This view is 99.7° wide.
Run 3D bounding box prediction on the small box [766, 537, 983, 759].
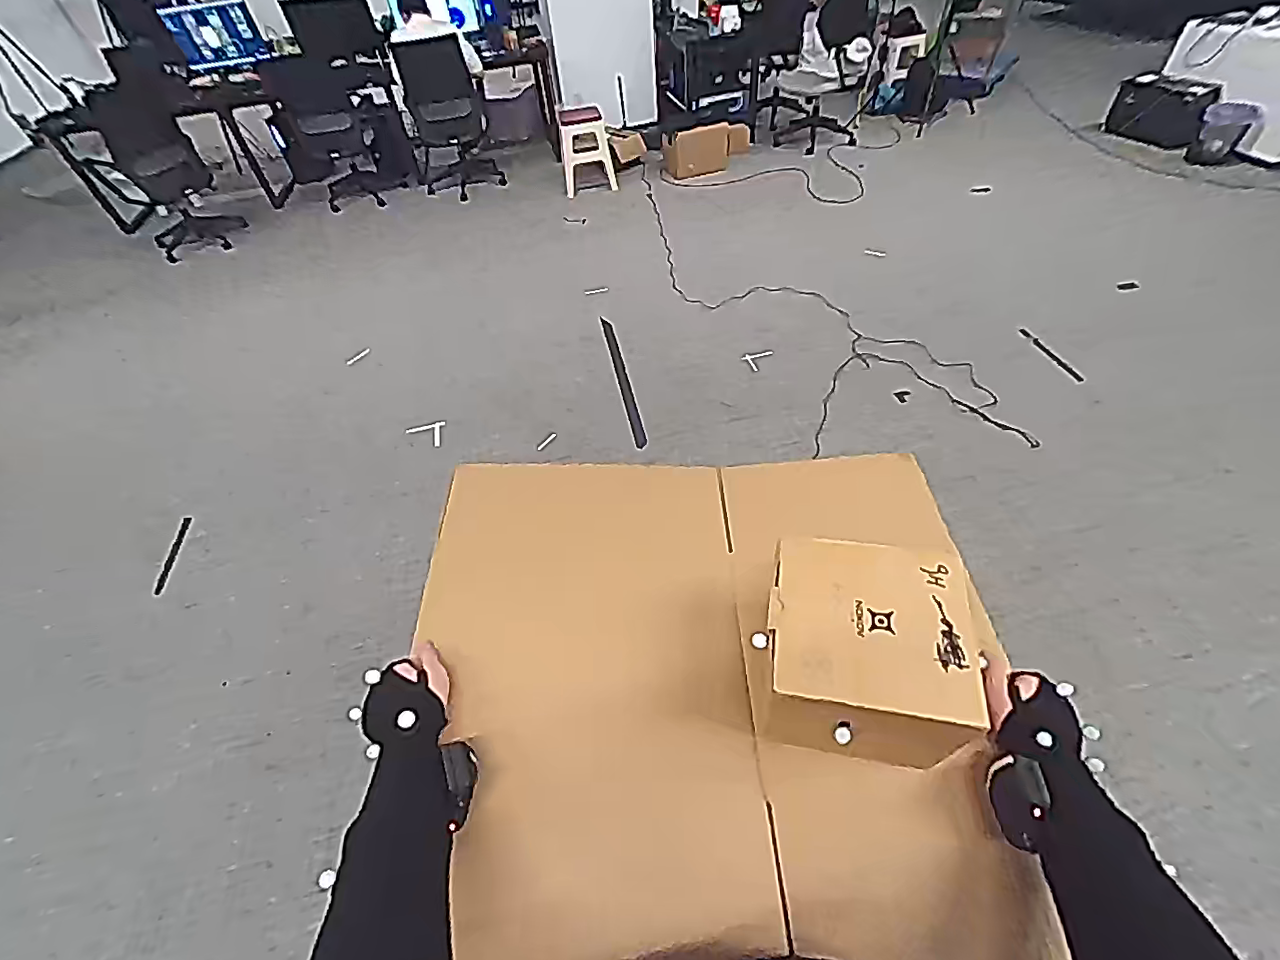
[{"bbox_3d":[0.228,0.180,0.575,0.179,0.176,0.168,4,53,13],"label":"small box"}]
